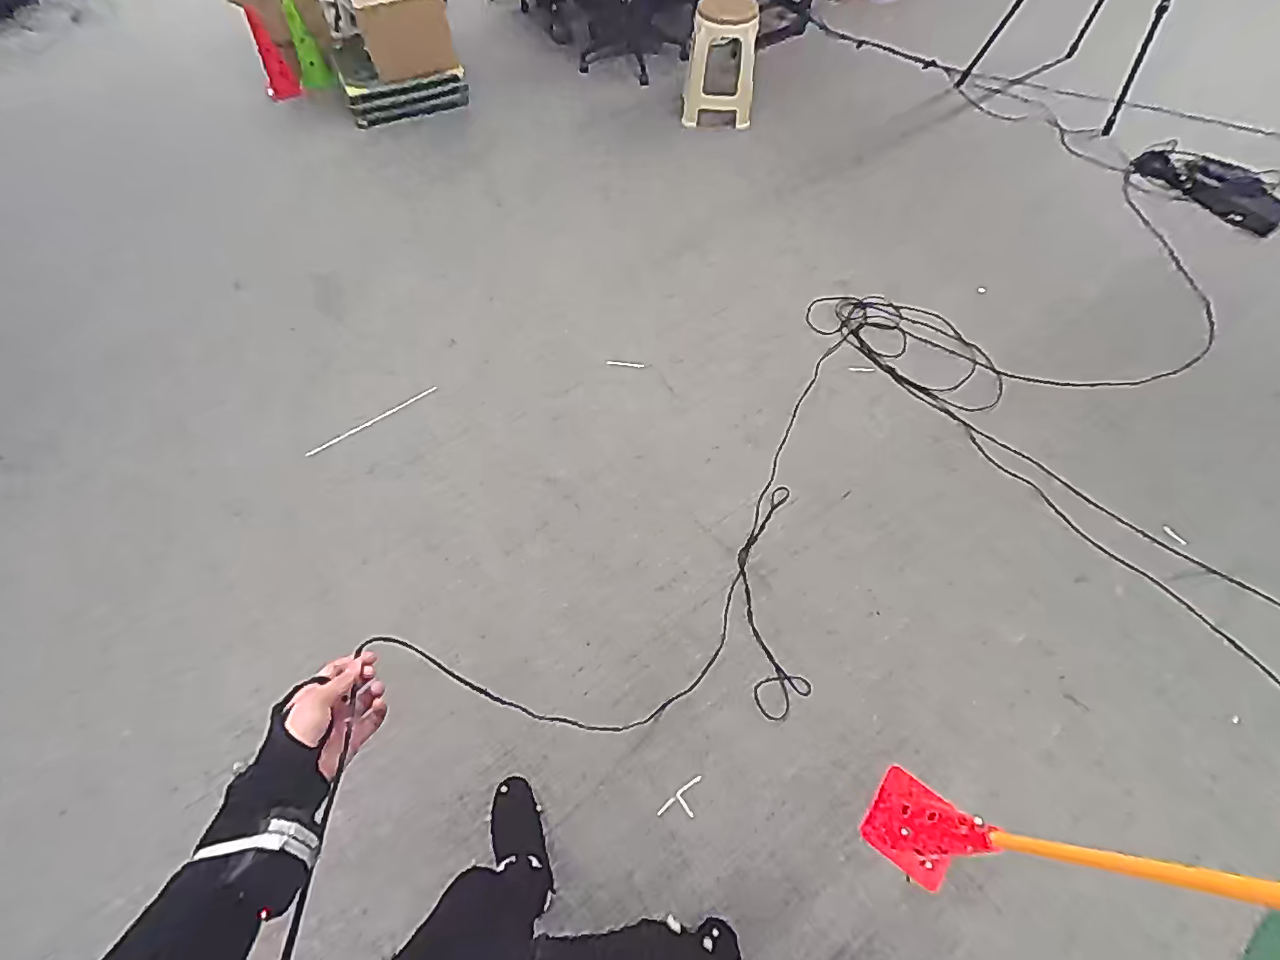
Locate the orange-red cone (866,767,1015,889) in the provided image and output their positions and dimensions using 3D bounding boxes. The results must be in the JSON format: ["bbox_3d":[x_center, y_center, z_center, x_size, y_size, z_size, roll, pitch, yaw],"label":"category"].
[{"bbox_3d":[0.673,0.751,1.160,0.198,0.360,0.199,36,65,17],"label":"orange-red cone"}]
